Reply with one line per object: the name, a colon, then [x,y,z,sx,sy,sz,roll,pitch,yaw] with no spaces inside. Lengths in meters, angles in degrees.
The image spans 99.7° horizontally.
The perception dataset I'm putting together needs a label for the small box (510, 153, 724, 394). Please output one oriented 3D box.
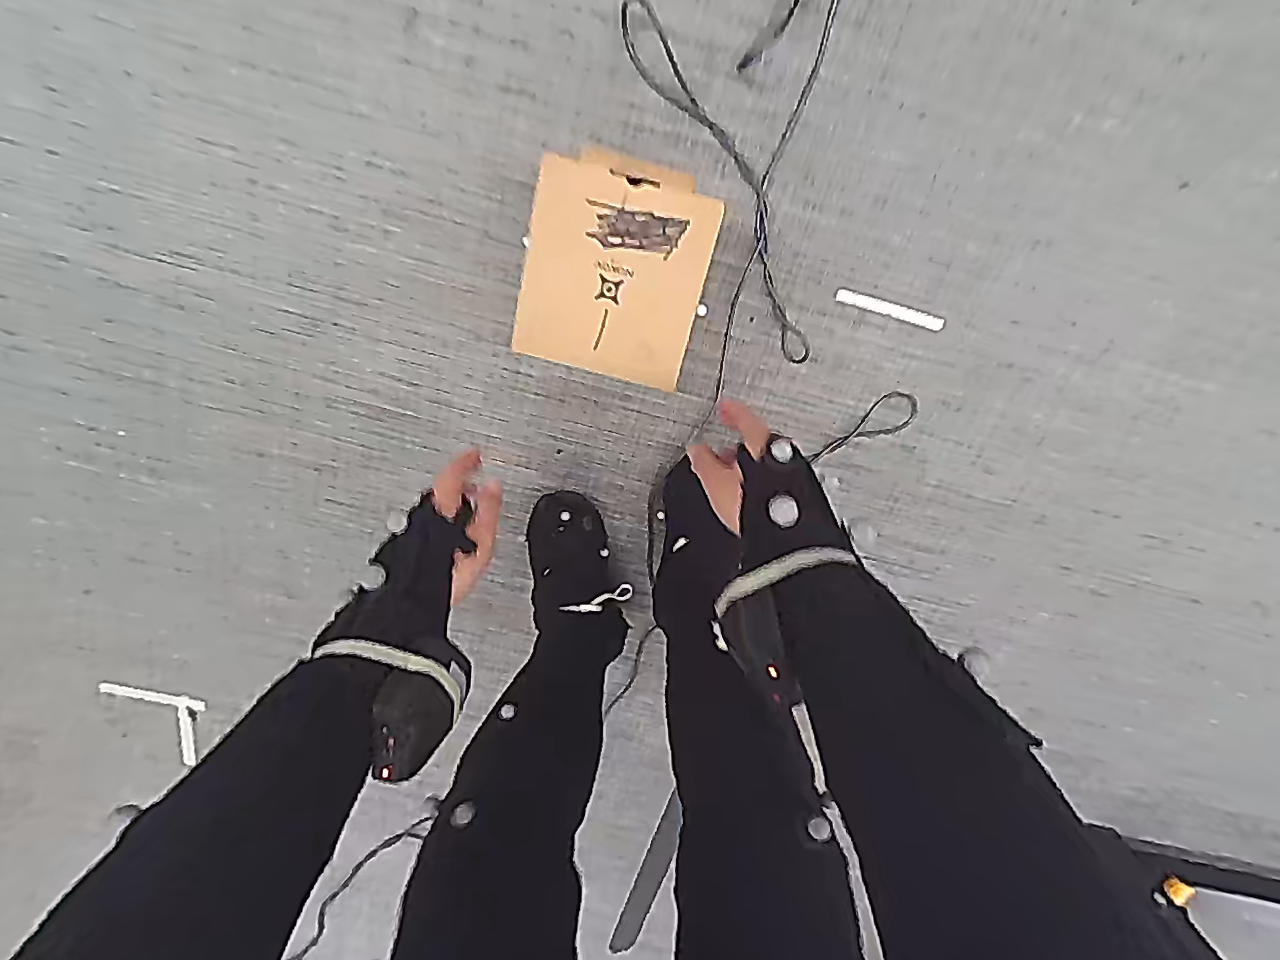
small box: [-0.024,-0.210,0.569,0.168,0.176,0.179,14,111,-3]
